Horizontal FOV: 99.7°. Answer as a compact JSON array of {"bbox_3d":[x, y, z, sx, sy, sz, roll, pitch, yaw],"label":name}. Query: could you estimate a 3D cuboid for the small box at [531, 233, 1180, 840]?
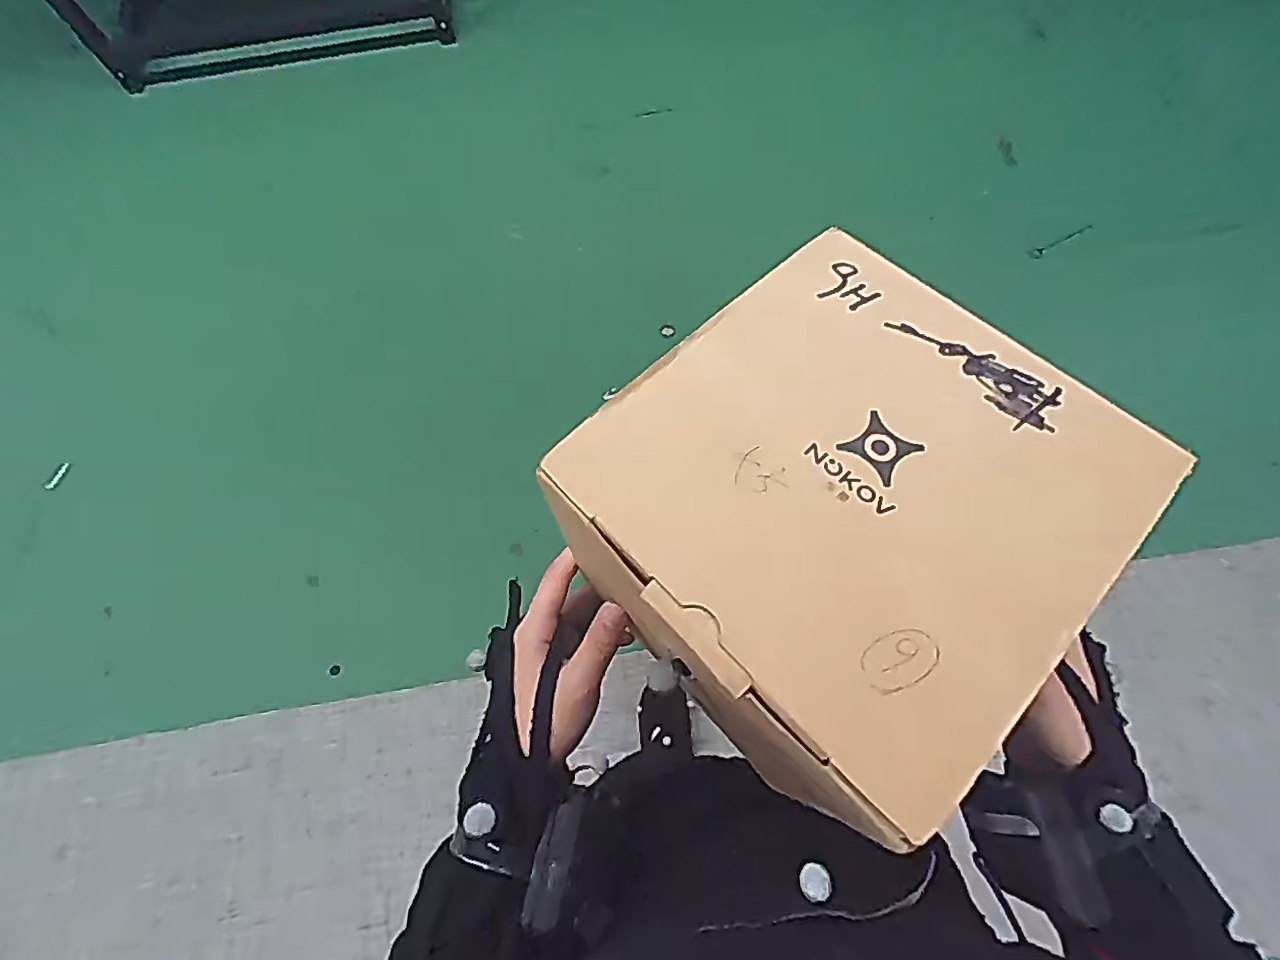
[{"bbox_3d":[0.078,0.028,0.269,0.179,0.176,0.168,-41,71,-15],"label":"small box"}]
